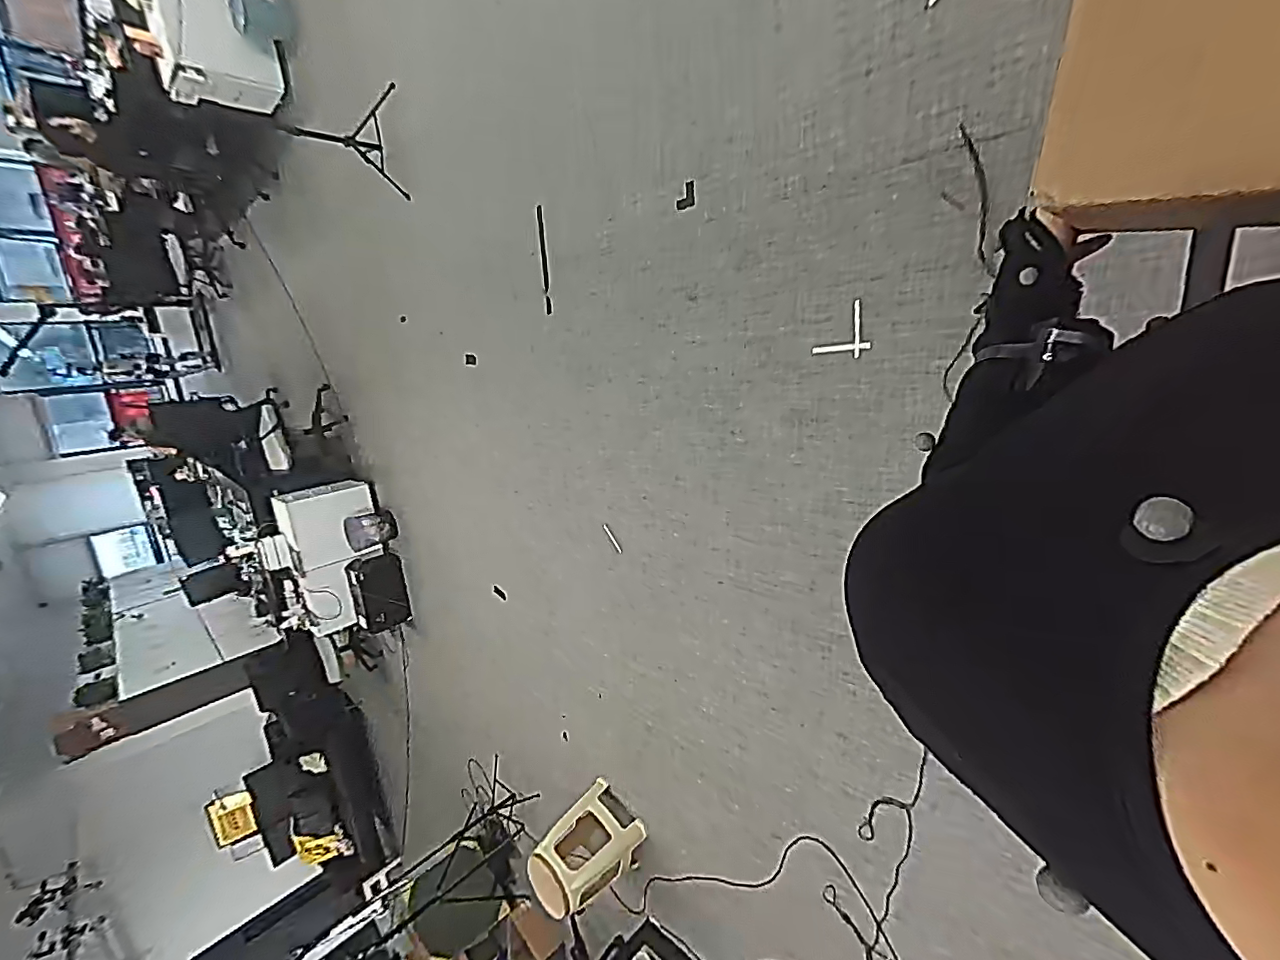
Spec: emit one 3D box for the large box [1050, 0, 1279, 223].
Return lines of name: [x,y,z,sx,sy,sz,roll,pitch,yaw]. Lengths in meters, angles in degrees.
large box: [0.444,-0.293,0.206,0.408,0.320,0.320,15,117,37]
